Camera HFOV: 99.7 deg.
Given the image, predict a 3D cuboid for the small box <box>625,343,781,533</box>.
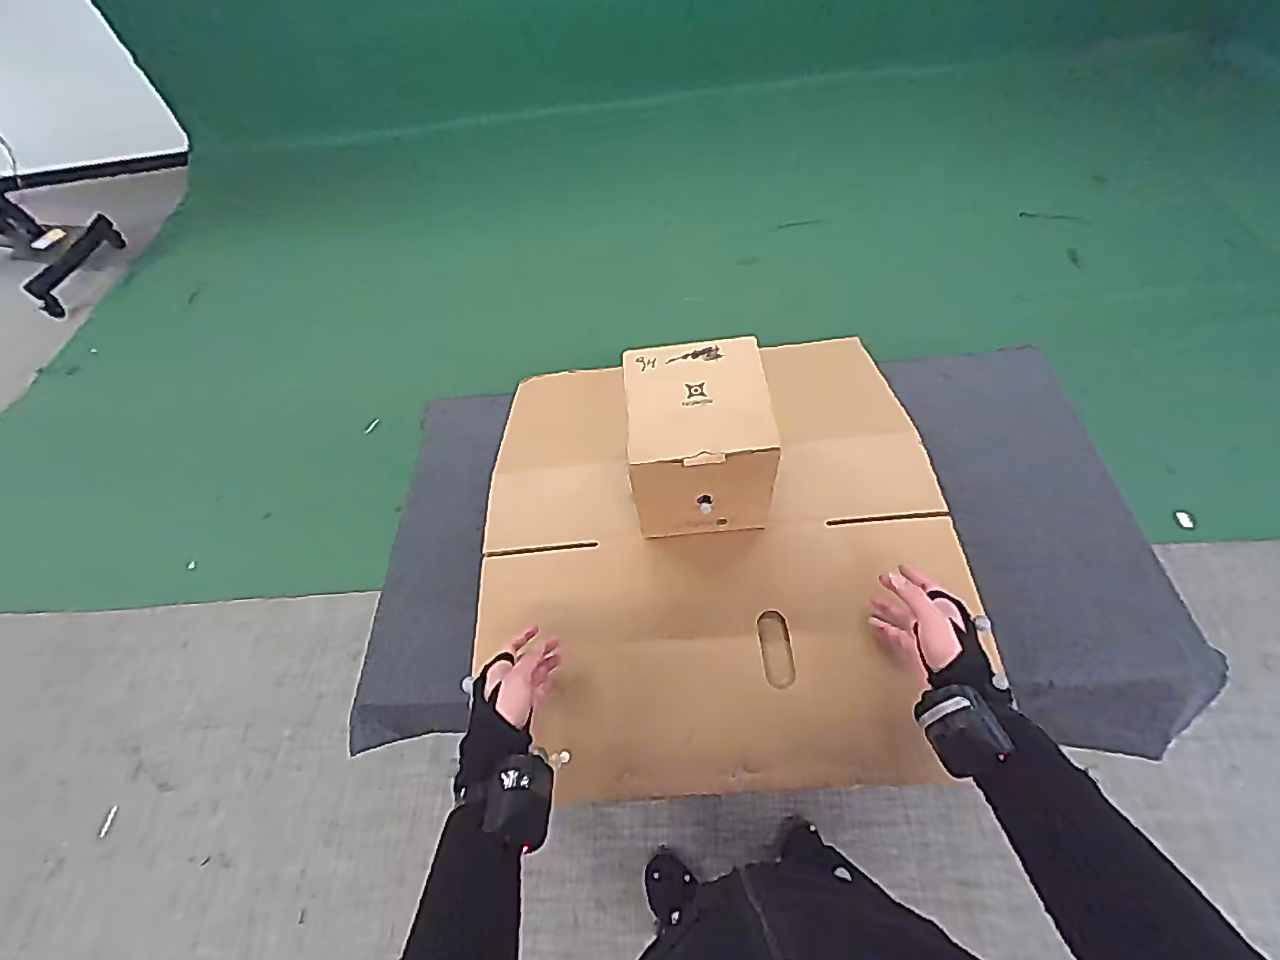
[{"bbox_3d":[0.077,-0.044,0.694,0.168,0.176,0.179,-8,56,3],"label":"small box"}]
